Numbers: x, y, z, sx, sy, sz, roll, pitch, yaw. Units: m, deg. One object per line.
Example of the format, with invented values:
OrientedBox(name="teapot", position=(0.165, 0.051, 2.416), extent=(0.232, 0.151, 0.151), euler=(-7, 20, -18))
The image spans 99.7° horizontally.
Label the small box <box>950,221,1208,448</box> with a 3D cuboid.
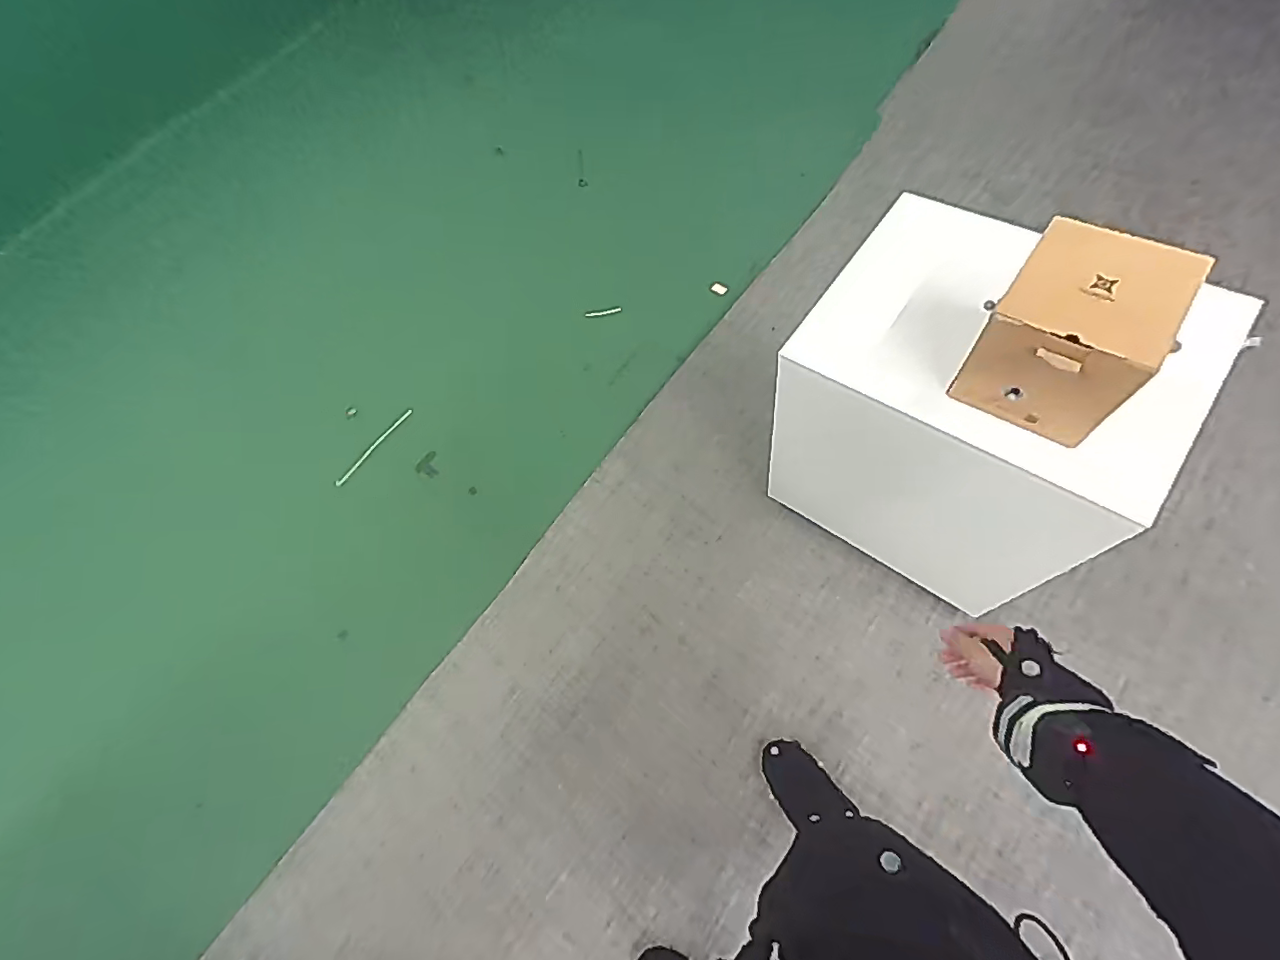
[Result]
OrientedBox(name="small box", position=(0.522, -0.174, 0.671), extent=(0.168, 0.176, 0.179), euler=(32, 75, 22))
